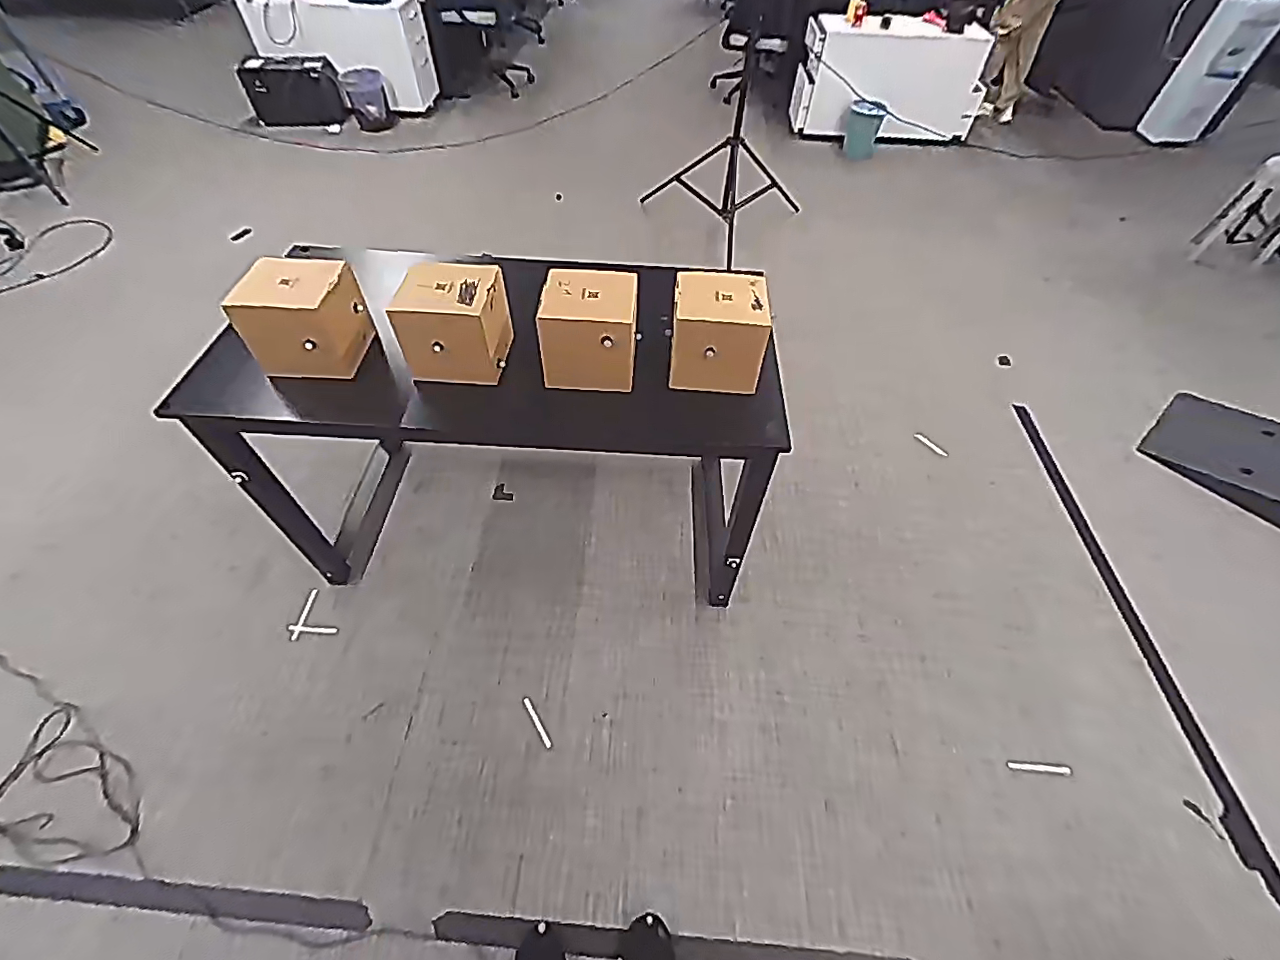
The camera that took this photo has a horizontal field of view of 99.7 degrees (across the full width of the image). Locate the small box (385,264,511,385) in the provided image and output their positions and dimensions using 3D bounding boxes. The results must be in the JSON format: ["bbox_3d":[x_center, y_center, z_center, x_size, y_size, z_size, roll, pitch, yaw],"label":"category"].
[{"bbox_3d":[-0.370,-0.307,1.083,0.179,0.176,0.168,3,52,2],"label":"small box"}]

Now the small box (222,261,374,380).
[{"bbox_3d":[-0.665,-0.314,1.082,0.179,0.176,0.168,1,51,-1],"label":"small box"}]

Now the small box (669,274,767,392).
[{"bbox_3d":[0.149,-0.293,1.086,0.179,0.176,0.168,3,52,2],"label":"small box"}]

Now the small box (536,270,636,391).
[{"bbox_3d":[-0.100,-0.294,1.079,0.179,0.176,0.168,2,51,0],"label":"small box"}]
